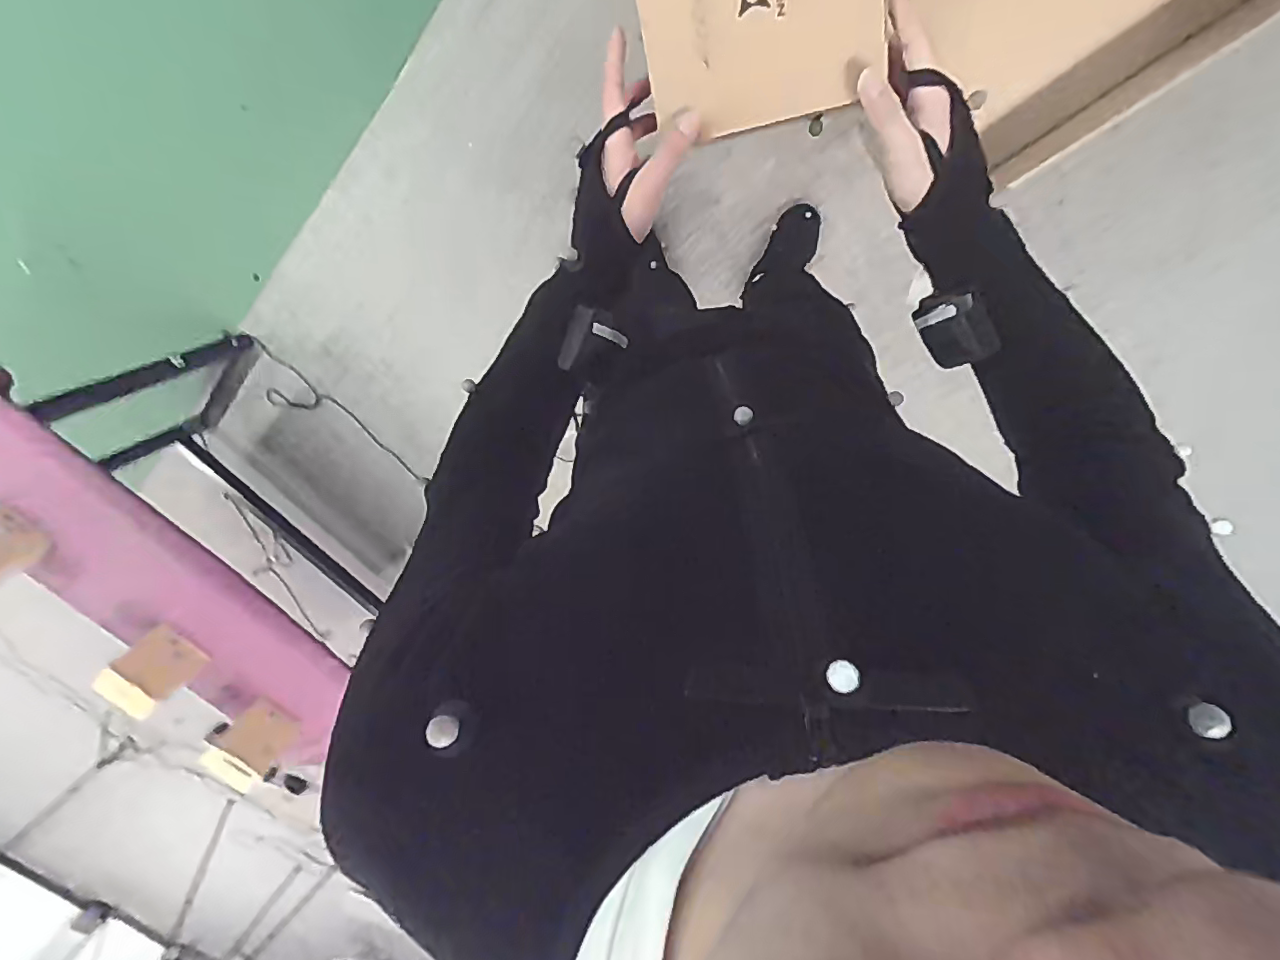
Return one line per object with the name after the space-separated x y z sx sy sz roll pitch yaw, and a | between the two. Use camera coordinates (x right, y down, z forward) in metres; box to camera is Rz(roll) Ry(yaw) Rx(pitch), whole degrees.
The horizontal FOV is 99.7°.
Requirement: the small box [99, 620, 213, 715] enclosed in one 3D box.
-1.416 0.549 1.591 0.179 0.176 0.168 -35 106 29 | small box

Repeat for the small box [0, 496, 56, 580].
-1.750 0.173 1.455 0.179 0.176 0.168 -29 110 27 | small box

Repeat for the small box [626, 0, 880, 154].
0.088 -0.385 0.448 0.179 0.176 0.168 -6 119 14 | small box
